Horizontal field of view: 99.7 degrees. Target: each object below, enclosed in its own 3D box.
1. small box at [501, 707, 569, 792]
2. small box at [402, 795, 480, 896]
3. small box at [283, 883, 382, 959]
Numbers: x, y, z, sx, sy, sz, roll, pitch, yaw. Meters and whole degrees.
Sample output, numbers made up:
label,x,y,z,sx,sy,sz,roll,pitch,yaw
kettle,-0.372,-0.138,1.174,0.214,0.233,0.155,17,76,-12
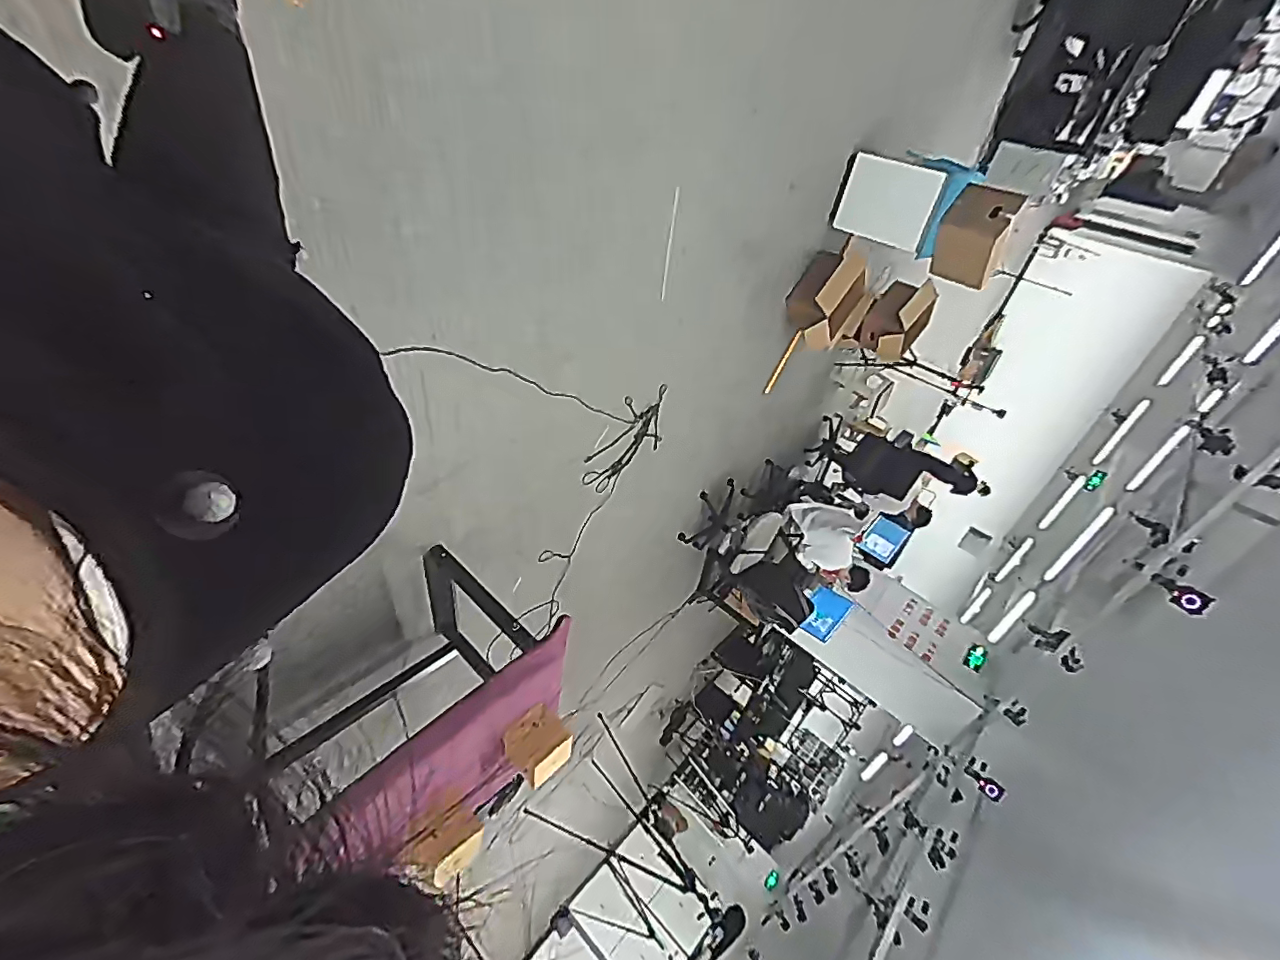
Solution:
label,x,y,z,sx,sy,sz,roll,pitch,yaw
small box,-0.370,0.937,1.892,0.168,0.176,0.179,-30,143,-39
small box,-0.628,1.136,1.697,0.168,0.176,0.179,-21,137,-46
small box,-0.844,1.260,1.487,0.168,0.176,0.179,-32,145,-38
